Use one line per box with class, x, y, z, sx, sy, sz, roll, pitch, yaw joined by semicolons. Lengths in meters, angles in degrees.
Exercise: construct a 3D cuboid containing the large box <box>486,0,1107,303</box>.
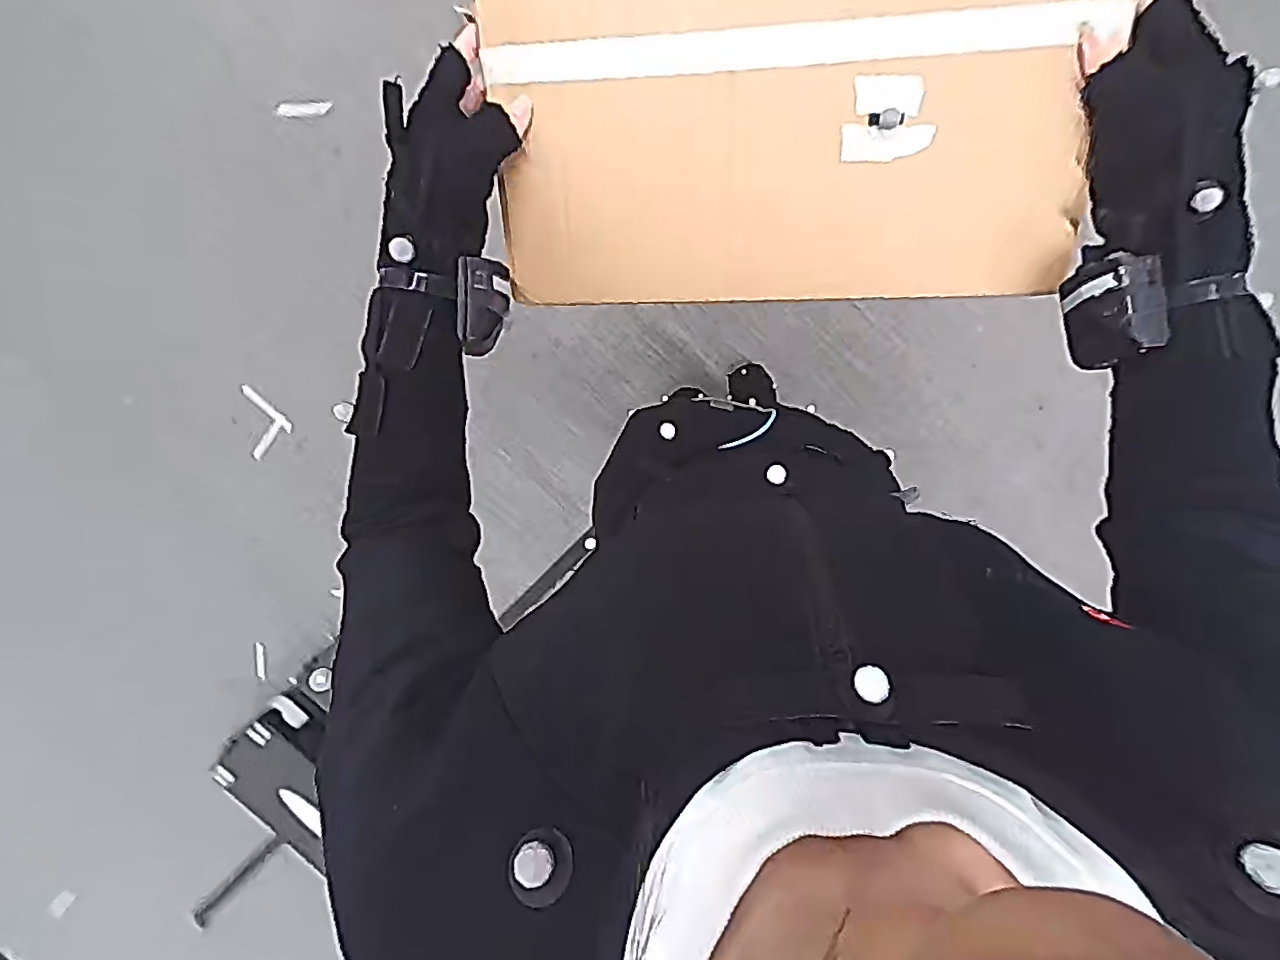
large box;0.107;-0.349;0.496;0.408;0.320;0.320;-1;114;6
